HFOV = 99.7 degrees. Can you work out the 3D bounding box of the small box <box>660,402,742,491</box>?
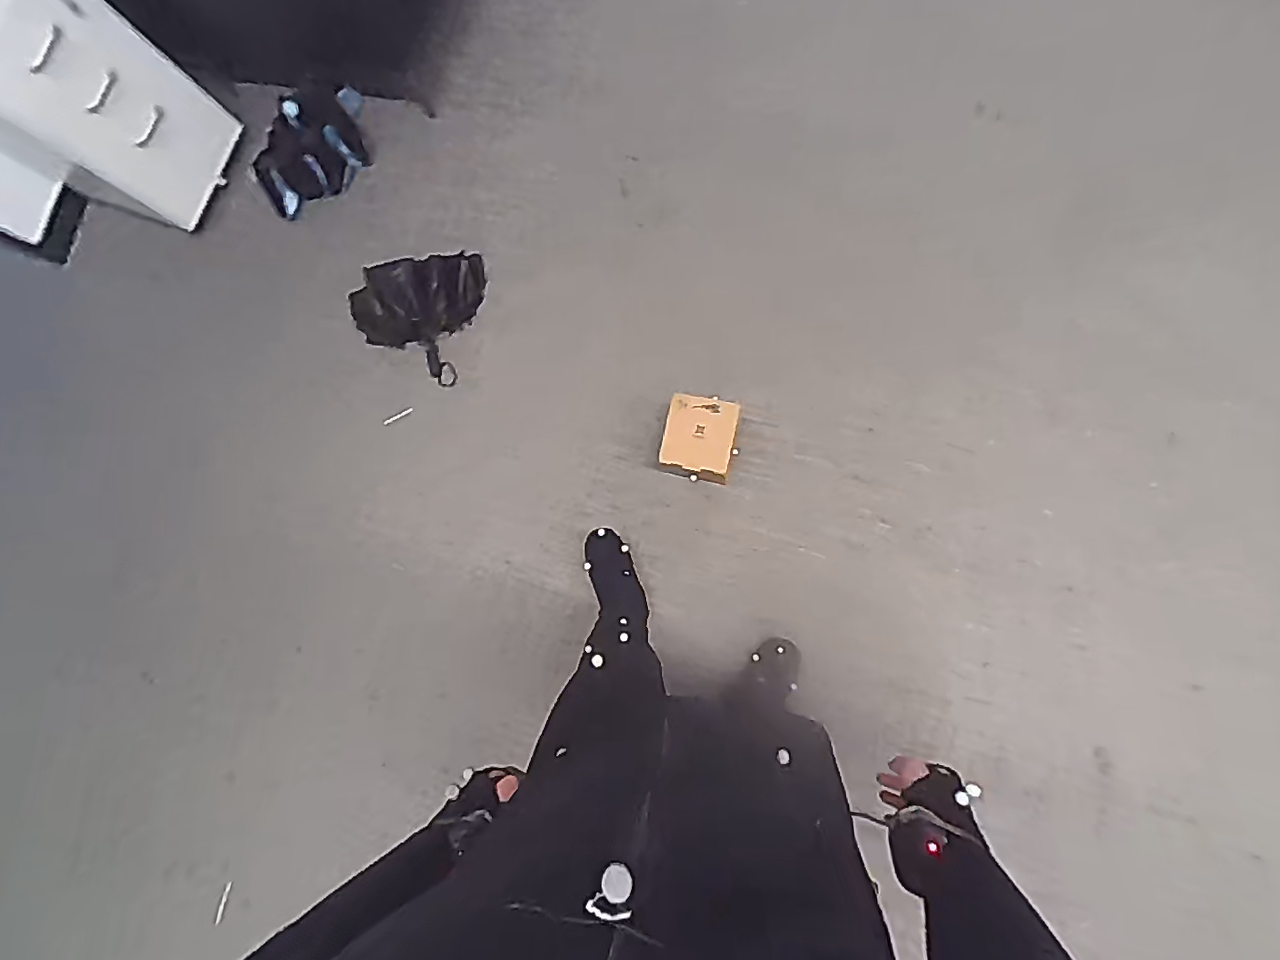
[{"bbox_3d":[0.160,-0.076,1.350,0.168,0.176,0.179,11,83,13],"label":"small box"}]
